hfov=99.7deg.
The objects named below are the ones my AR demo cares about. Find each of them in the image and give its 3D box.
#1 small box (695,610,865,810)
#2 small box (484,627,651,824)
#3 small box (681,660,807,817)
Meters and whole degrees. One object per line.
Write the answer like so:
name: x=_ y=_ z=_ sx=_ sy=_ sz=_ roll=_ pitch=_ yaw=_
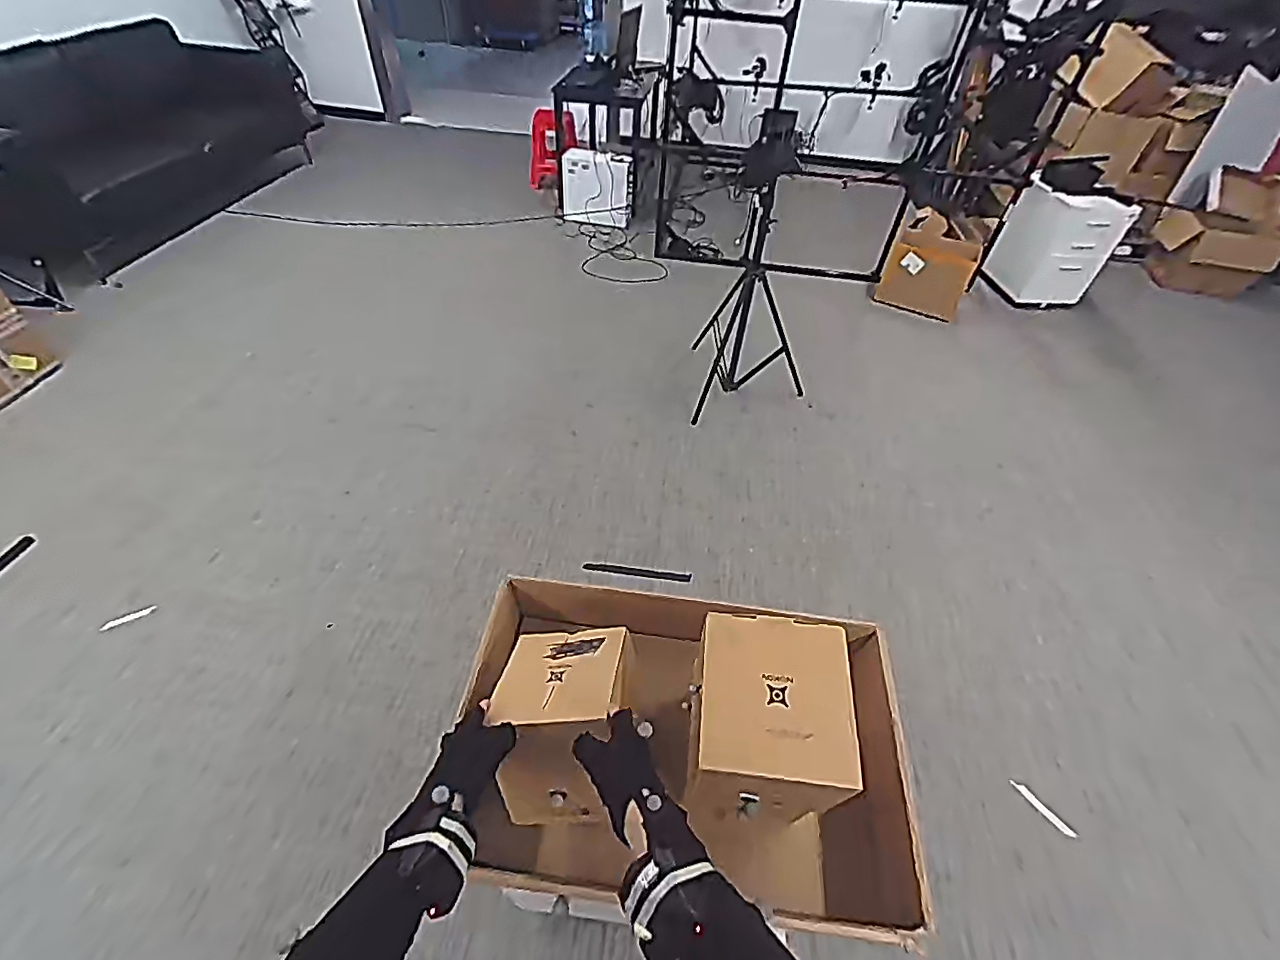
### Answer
small box: x=0.155 y=0.282 z=0.660 sx=0.168 sy=0.176 sz=0.179 roll=4 pitch=52 yaw=5
small box: x=-0.085 y=0.329 z=0.738 sx=0.168 sy=0.176 sz=0.179 roll=-10 pitch=18 yaw=10
small box: x=0.158 y=0.381 z=0.791 sx=0.179 sy=0.176 sz=0.168 roll=5 pitch=51 yaw=5
